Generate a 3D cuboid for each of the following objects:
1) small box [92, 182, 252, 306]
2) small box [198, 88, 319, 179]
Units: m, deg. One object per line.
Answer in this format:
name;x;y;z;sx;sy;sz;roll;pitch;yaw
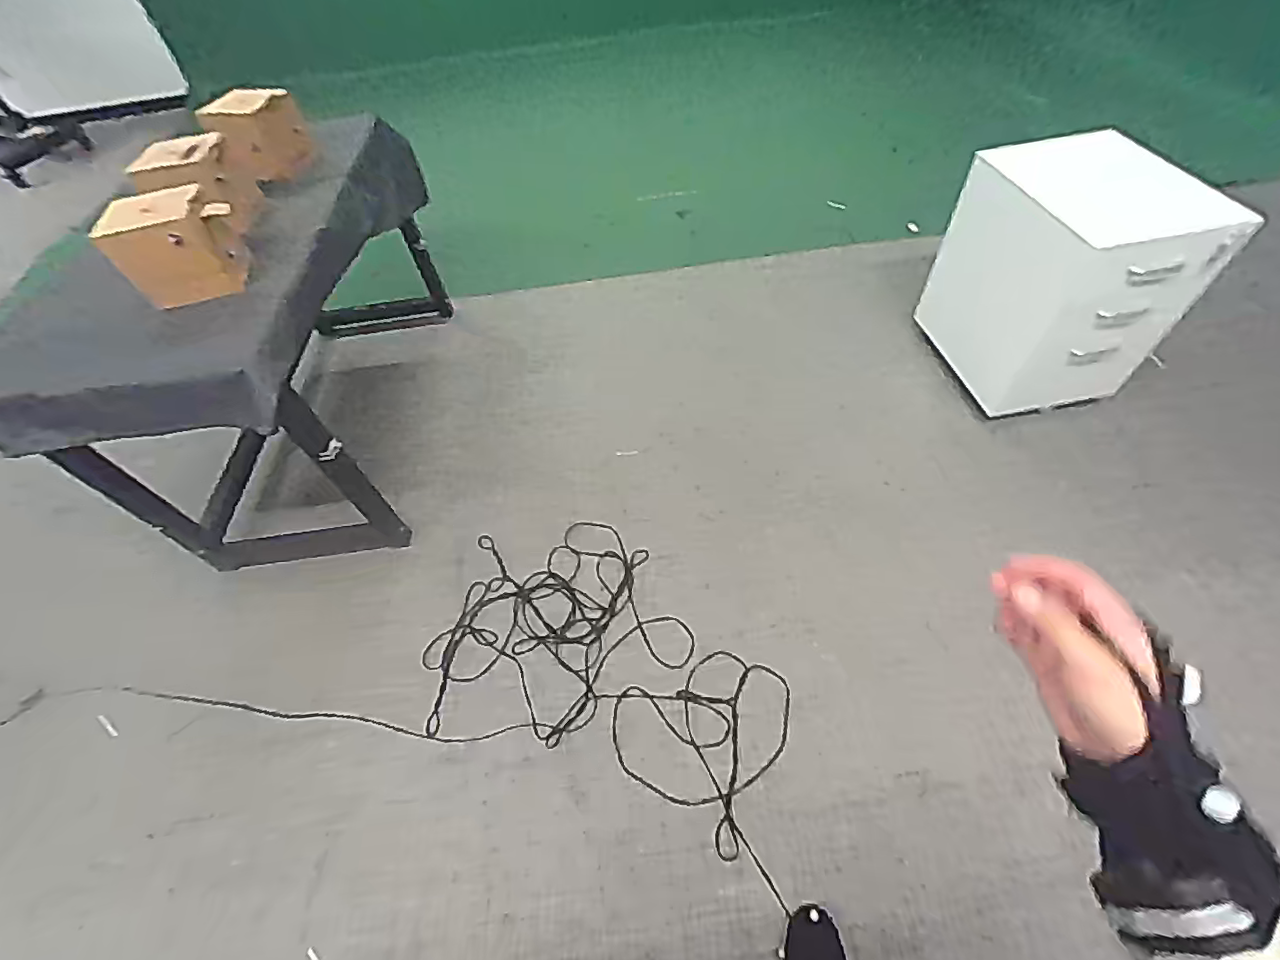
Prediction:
small box;-0.973;-0.494;1.143;0.179;0.176;0.168;-17;53;-7
small box;-1.040;-0.952;1.492;0.179;0.176;0.168;8;54;13
